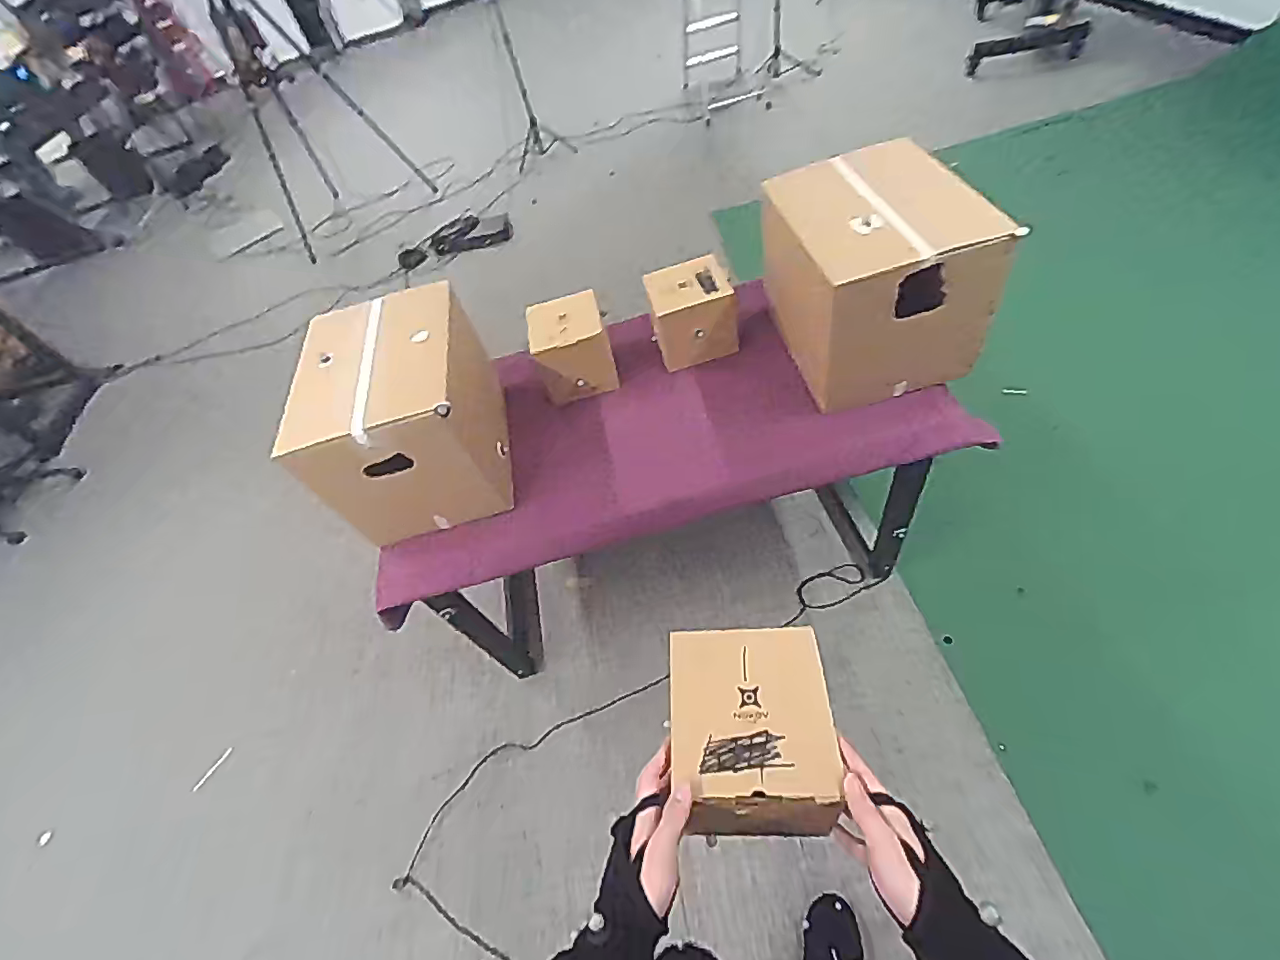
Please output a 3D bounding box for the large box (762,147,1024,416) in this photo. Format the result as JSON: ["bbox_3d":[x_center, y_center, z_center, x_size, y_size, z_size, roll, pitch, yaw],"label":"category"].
[{"bbox_3d":[0.462,-0.404,1.108,0.320,0.320,0.408,-16,52,4],"label":"large box"}]

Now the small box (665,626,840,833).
[{"bbox_3d":[0.119,0.288,0.617,0.168,0.176,0.179,-4,45,6],"label":"small box"}]

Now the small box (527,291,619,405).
[{"bbox_3d":[-0.157,-0.308,1.274,0.168,0.176,0.179,-16,52,4],"label":"small box"}]
